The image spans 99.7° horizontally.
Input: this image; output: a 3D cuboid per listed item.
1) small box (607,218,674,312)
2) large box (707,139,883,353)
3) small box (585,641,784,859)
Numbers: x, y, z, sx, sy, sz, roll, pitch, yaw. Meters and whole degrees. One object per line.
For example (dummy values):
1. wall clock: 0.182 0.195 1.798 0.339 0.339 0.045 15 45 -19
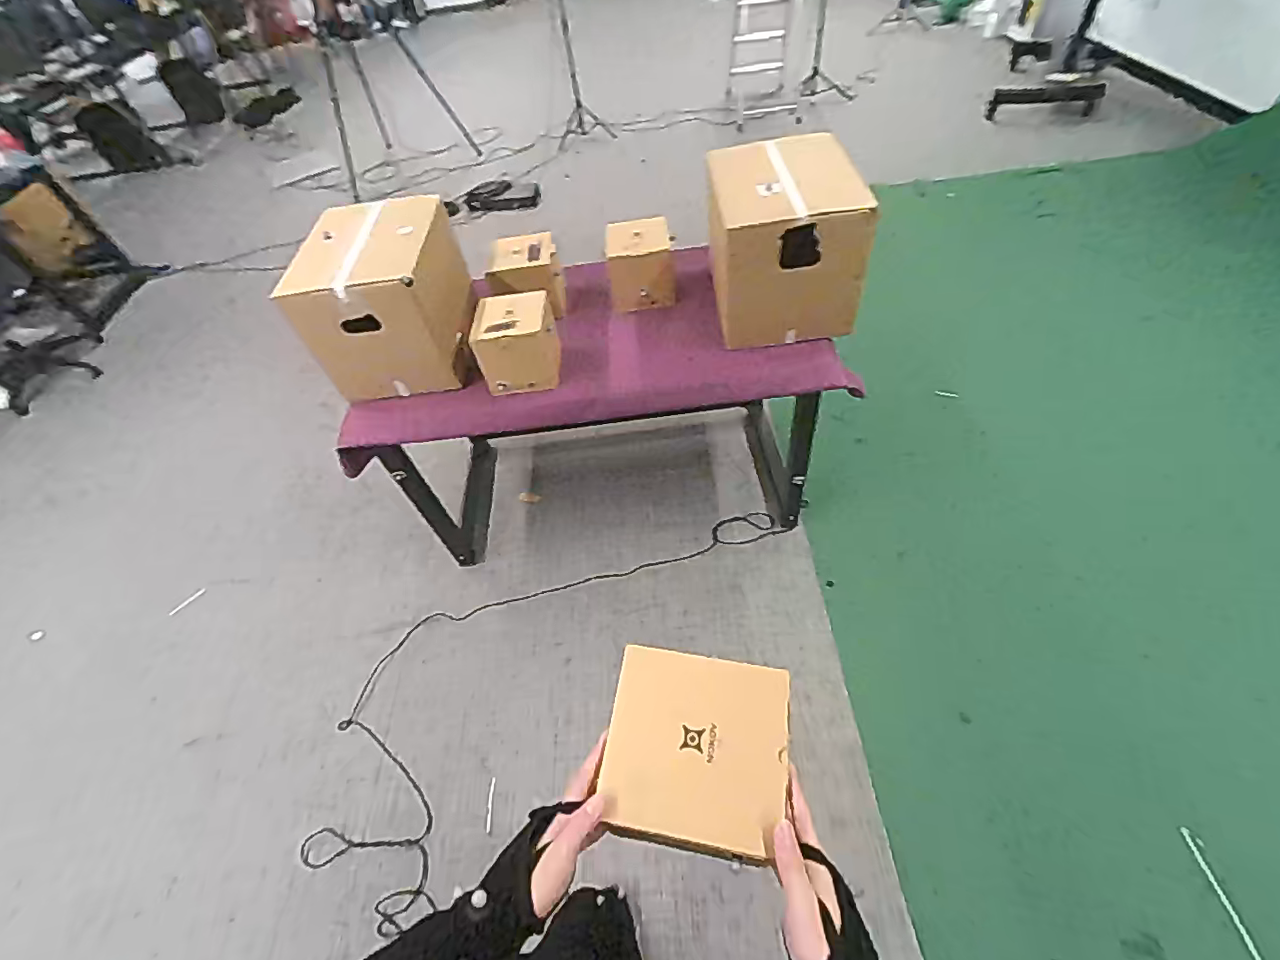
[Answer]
1. small box: 0.003 -0.585 1.474 0.168 0.176 0.179 -6 52 4
2. large box: 0.345 -0.574 1.329 0.320 0.320 0.408 -6 52 5
3. small box: 0.052 0.294 0.584 0.179 0.176 0.168 7 53 8
